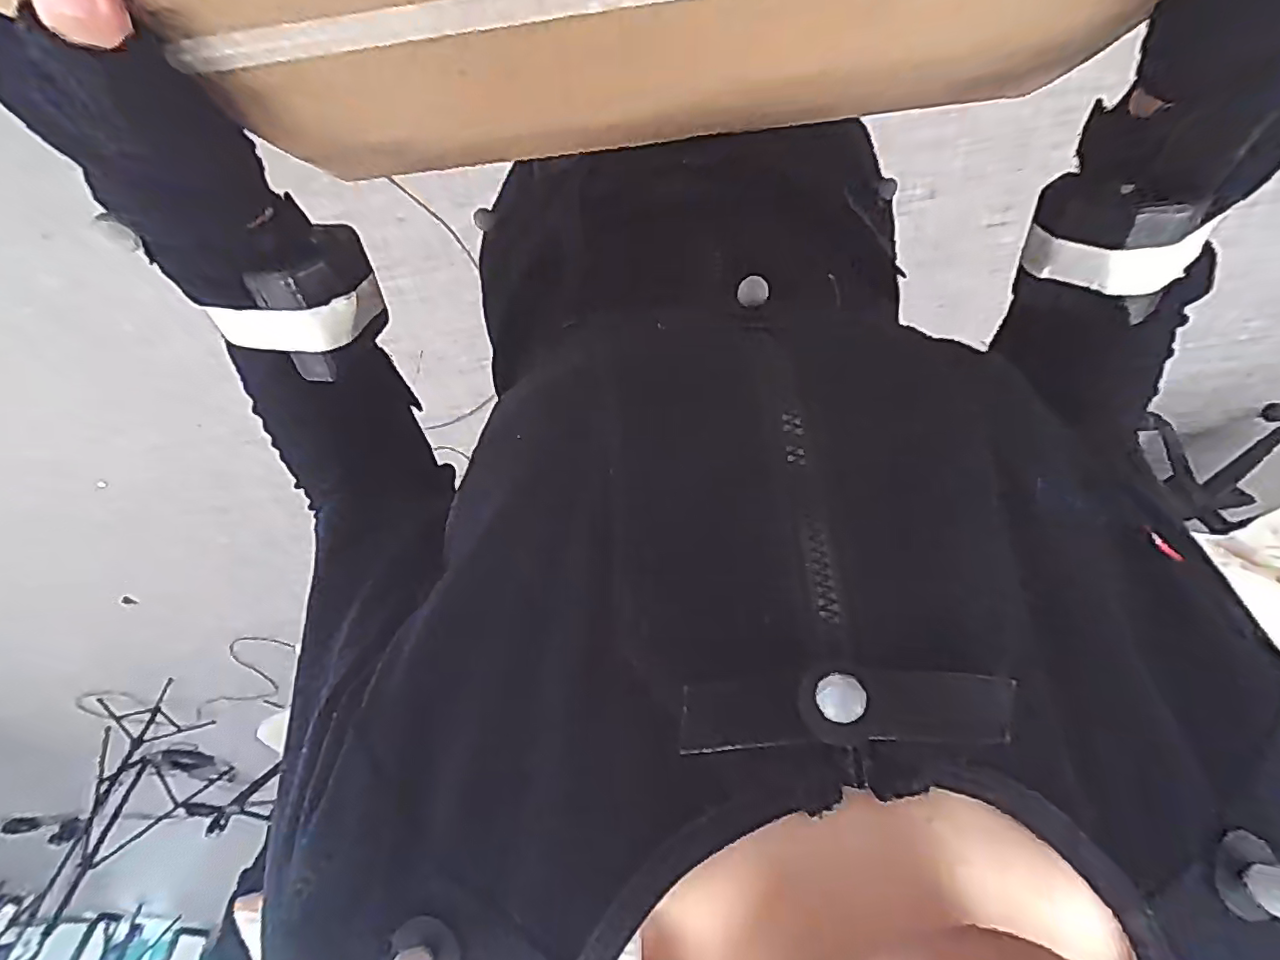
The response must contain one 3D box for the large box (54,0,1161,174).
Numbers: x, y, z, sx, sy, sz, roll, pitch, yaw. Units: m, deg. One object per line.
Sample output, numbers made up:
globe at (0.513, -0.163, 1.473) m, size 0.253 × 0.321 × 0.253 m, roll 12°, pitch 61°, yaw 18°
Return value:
large box at (0.003, -0.315, 0.139) m, size 0.408 × 0.320 × 0.320 m, roll -6°, pitch 105°, yaw 2°
